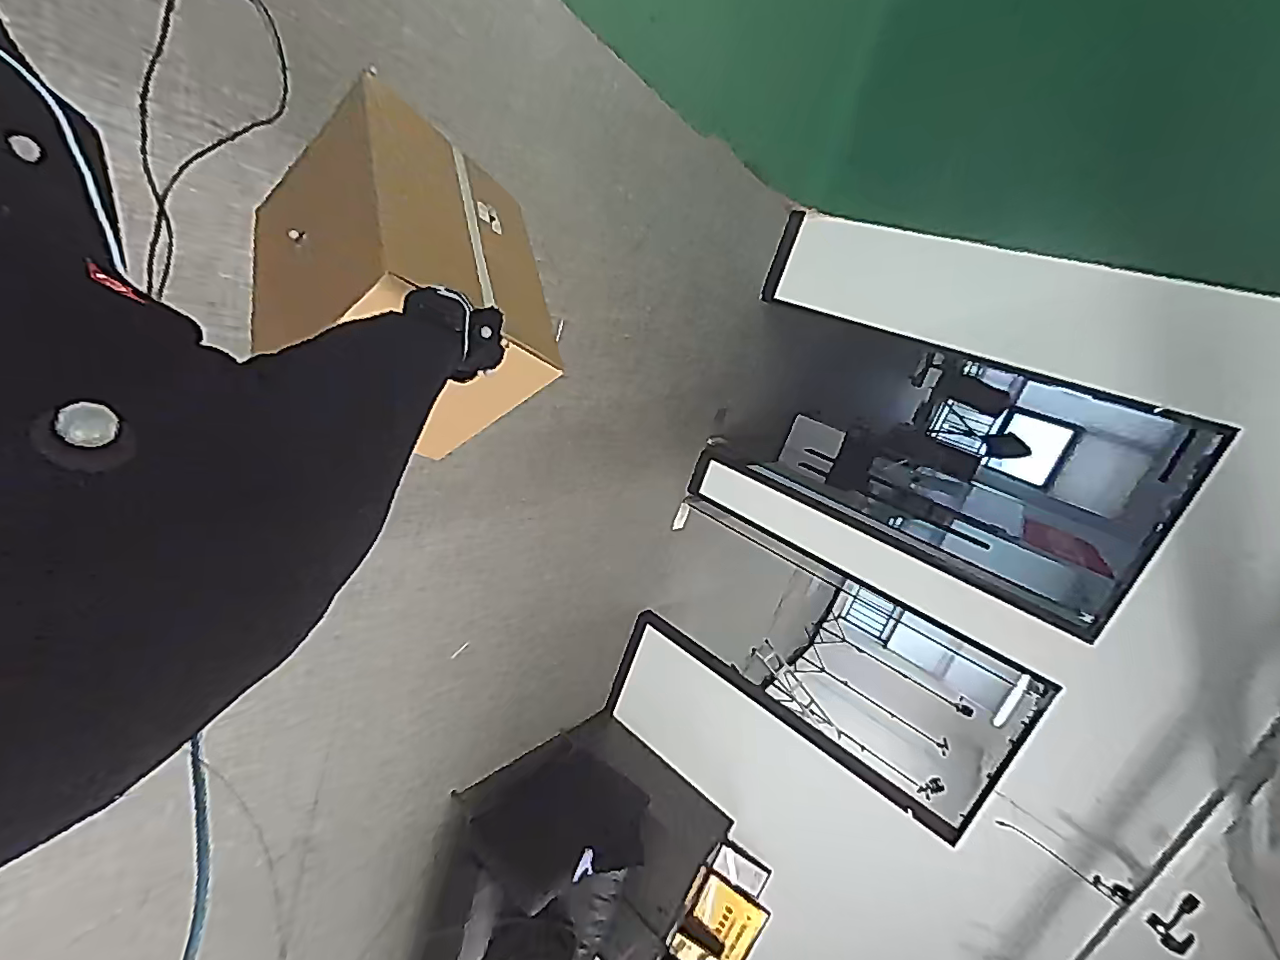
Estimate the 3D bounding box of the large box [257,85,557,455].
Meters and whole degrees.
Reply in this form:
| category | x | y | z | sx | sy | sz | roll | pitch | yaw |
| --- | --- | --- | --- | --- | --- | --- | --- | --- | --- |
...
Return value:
| category | x | y | z | sx | sy | sz | roll | pitch | yaw |
| --- | --- | --- | --- | --- | --- | --- | --- | --- | --- |
| large box | -0.390 | -0.306 | 0.891 | 0.320 | 0.408 | 0.320 | -29 | 154 | 24 |
